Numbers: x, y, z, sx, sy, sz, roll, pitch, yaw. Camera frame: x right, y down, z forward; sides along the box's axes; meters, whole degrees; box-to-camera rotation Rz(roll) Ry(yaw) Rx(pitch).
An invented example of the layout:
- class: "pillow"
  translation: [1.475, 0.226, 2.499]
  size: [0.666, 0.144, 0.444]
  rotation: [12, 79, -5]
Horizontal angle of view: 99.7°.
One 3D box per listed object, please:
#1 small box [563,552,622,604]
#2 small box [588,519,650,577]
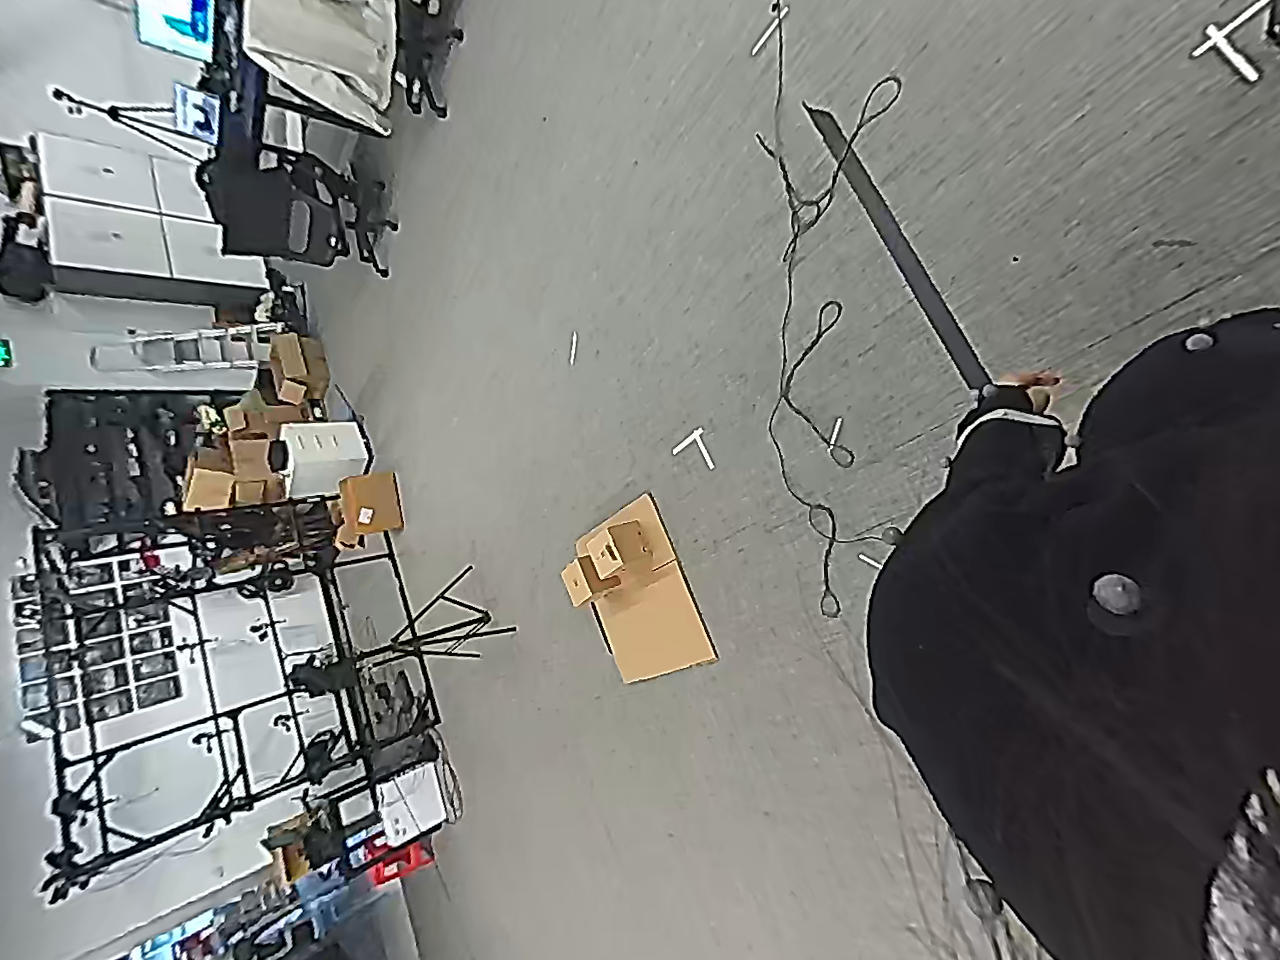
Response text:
- class: "small box"
  translation: [-0.210, 0.424, 2.402]
  size: [0.168, 0.176, 0.179]
  rotation: [-44, 66, 43]
- class: "small box"
  translation: [-0.079, 0.277, 2.232]
  size: [0.179, 0.176, 0.168]
  rotation: [-41, 68, 43]
